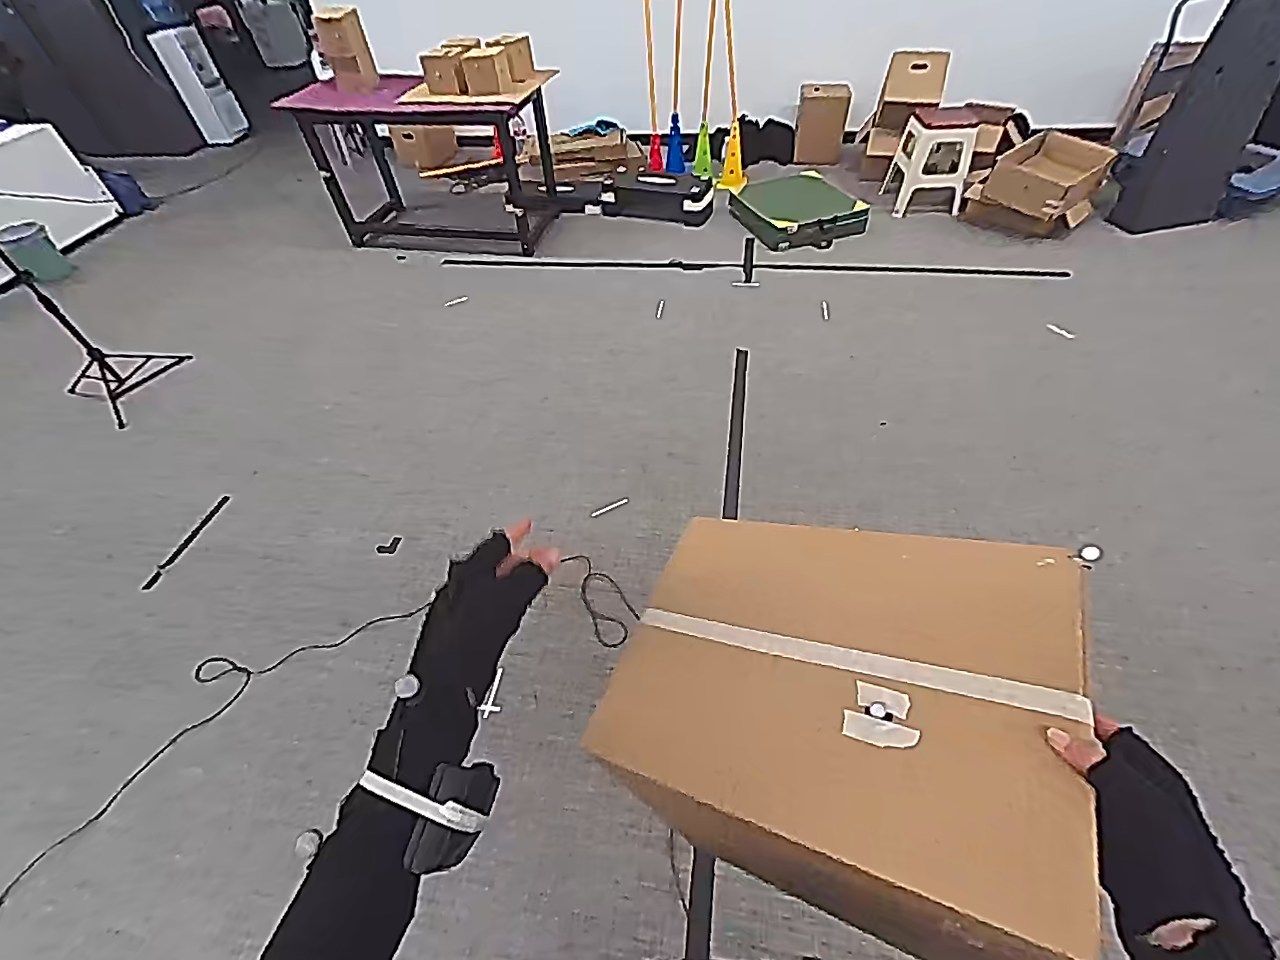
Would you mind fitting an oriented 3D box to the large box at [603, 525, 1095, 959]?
[{"bbox_3d":[0.242,0.277,0.616,0.408,0.320,0.320,2,47,37],"label":"large box"}]
